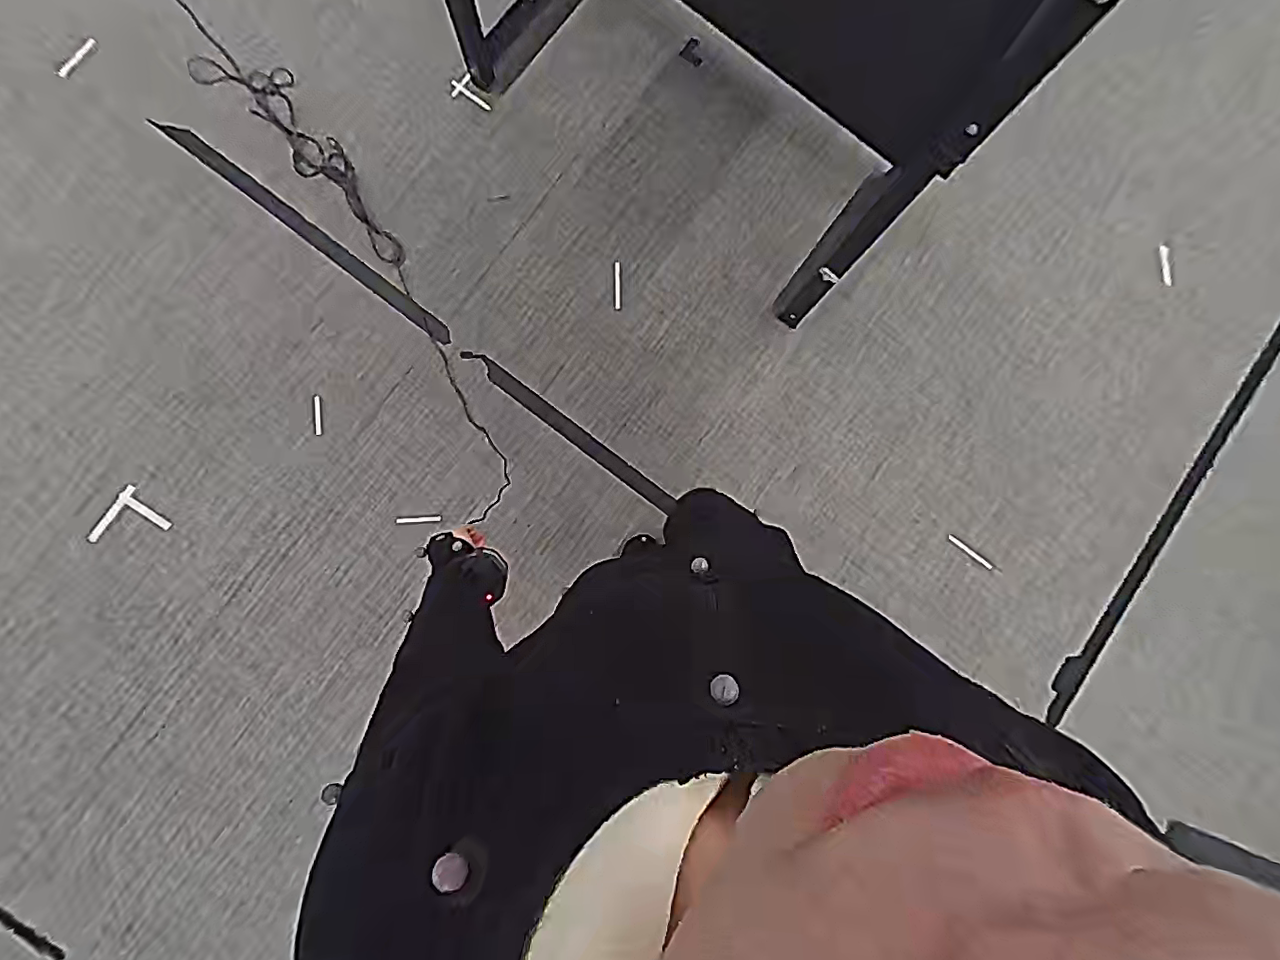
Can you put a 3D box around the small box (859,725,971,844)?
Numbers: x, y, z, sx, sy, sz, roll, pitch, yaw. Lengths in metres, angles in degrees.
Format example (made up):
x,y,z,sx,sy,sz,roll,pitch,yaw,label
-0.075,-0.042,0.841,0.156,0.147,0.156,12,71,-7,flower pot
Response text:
x,y,z,sx,sy,sz,roll,pitch,yaw,label
0.702,0.783,1.409,0.168,0.176,0.179,38,86,0,small box
